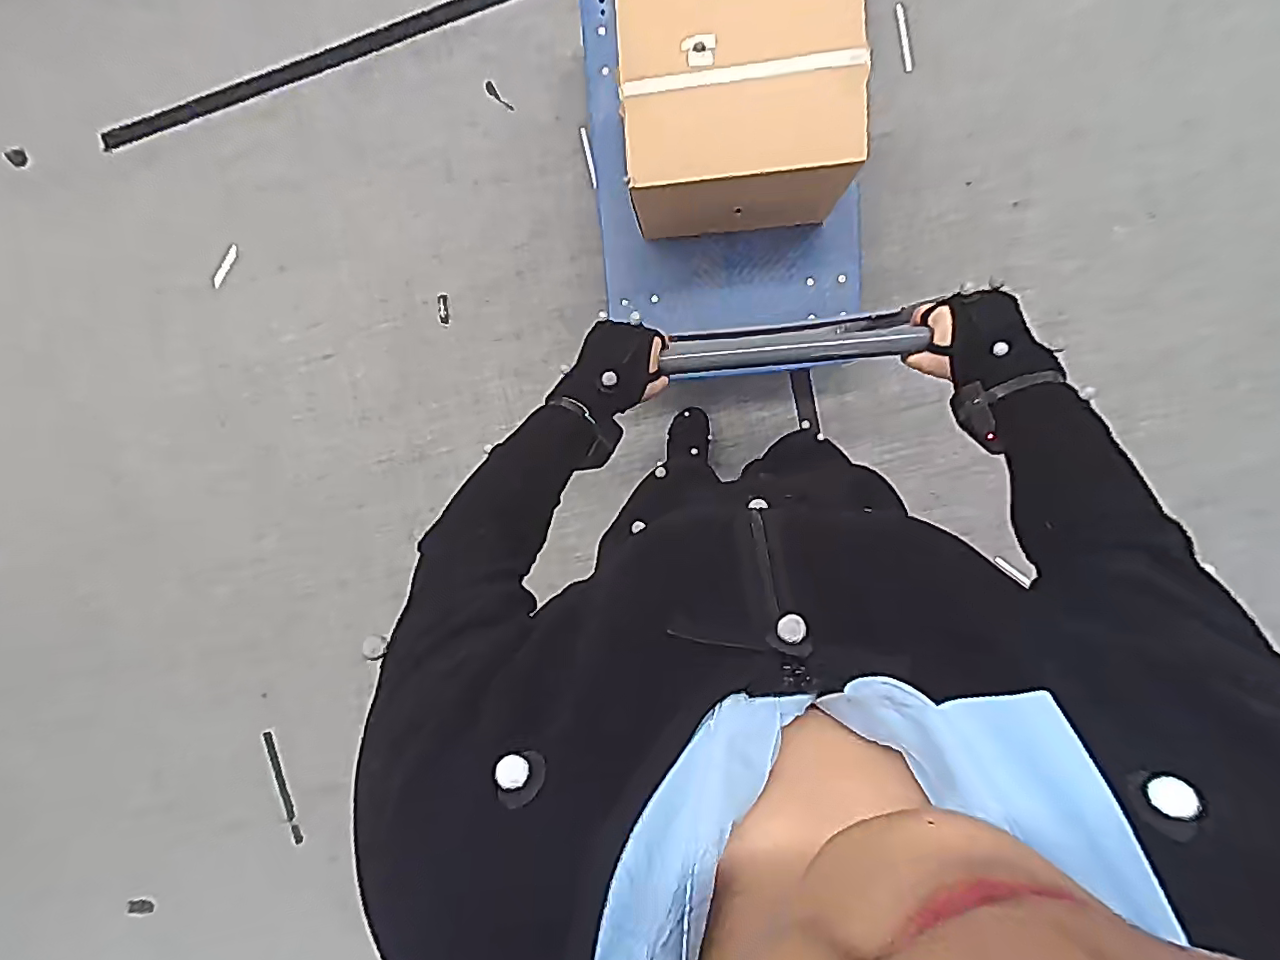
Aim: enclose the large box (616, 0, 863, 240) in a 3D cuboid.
[{"bbox_3d":[0.186,-0.698,1.066,0.408,0.320,0.320,-4,96,7],"label":"large box"}]
